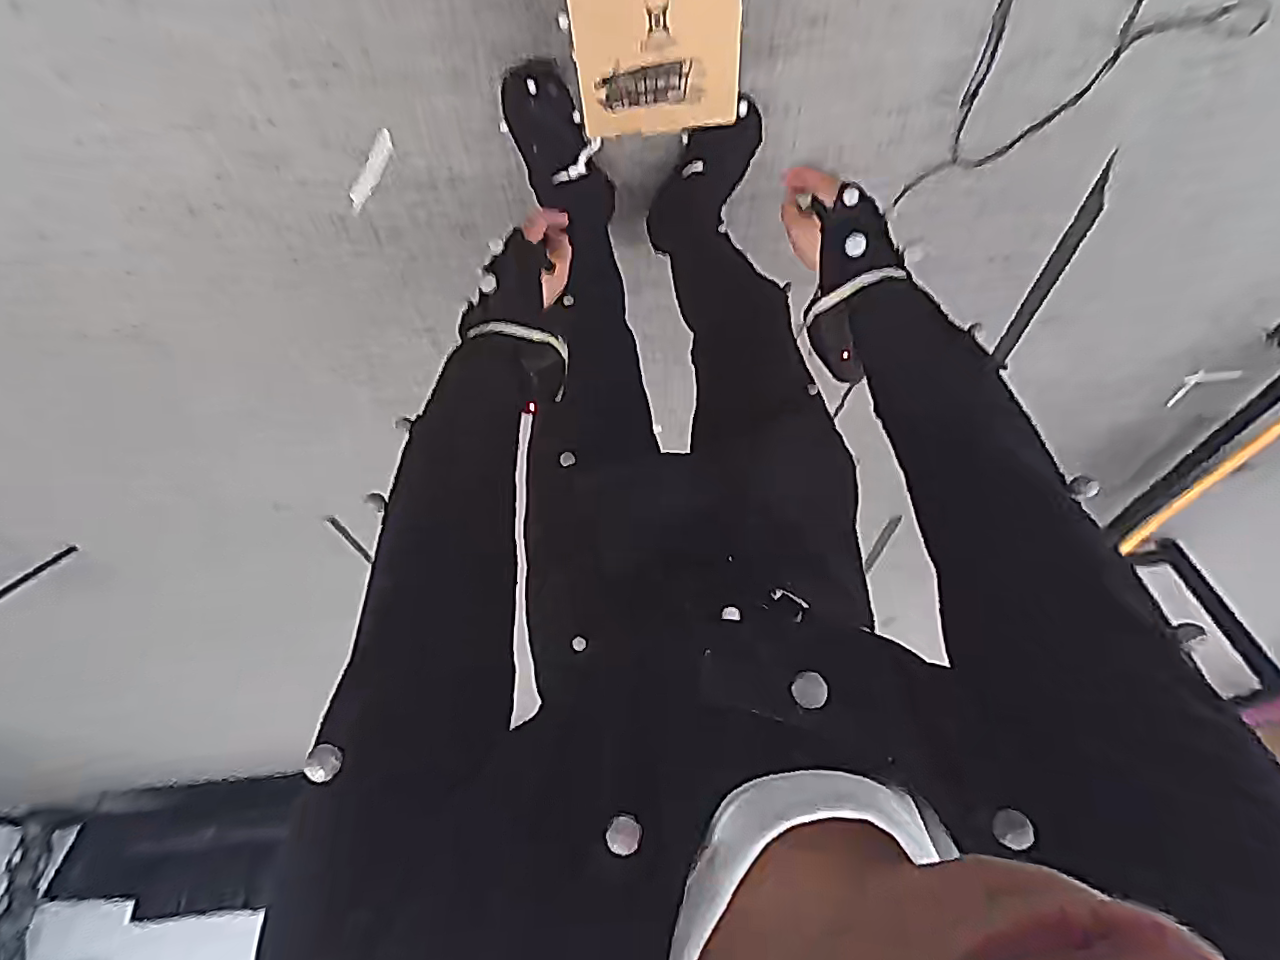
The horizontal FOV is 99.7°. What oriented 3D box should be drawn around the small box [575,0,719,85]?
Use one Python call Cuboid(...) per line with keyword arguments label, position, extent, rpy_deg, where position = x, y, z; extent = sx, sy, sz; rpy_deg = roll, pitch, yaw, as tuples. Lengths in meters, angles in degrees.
Cuboid(label="small box", position=(-0.002, -0.626, 0.659), extent=(0.168, 0.176, 0.179), rpy_deg=(-9, 143, 5))
